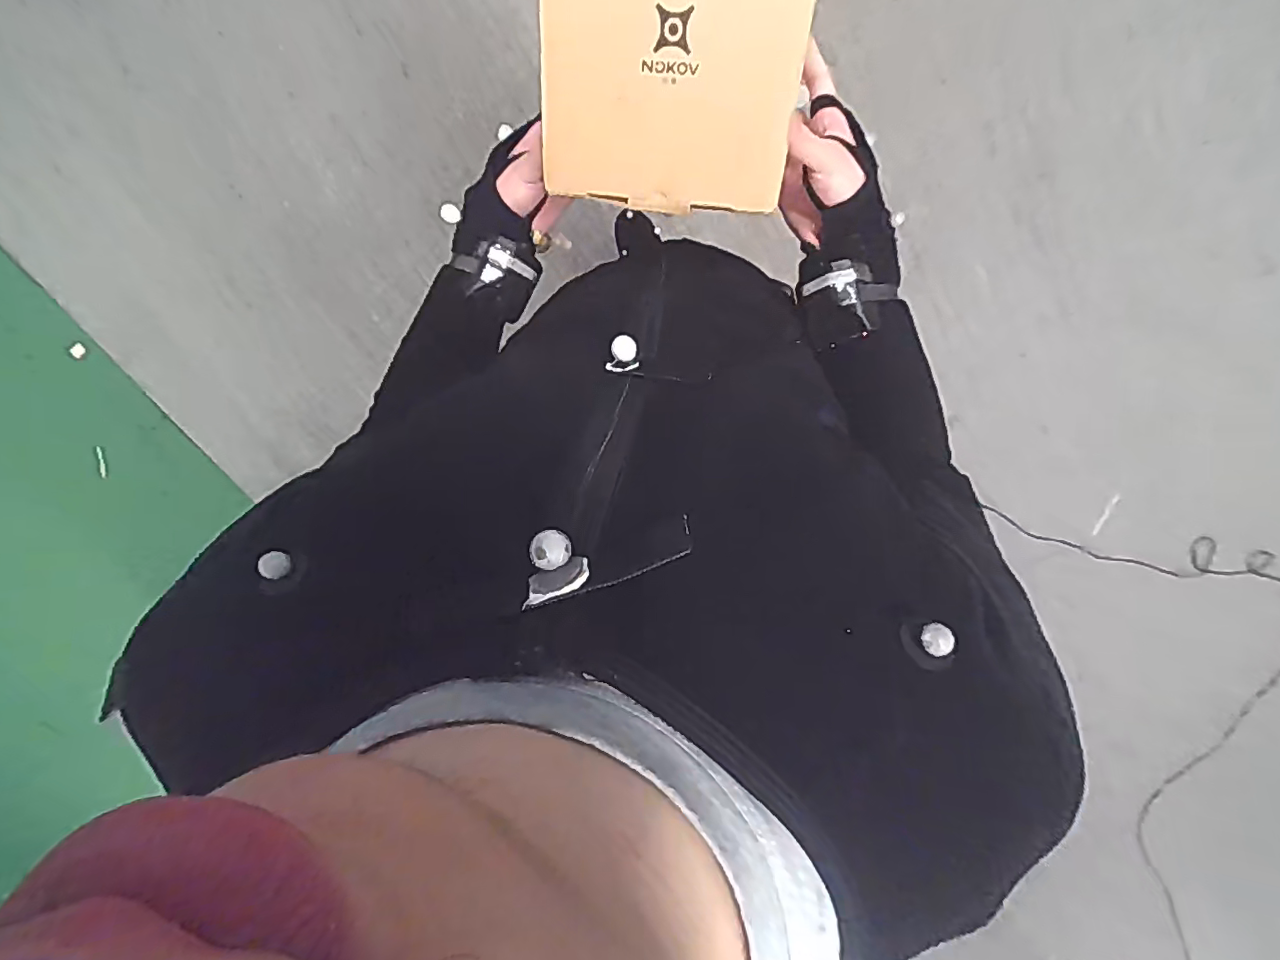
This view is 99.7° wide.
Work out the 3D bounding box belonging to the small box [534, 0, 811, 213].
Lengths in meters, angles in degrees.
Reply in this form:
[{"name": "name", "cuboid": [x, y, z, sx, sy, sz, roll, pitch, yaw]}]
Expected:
[{"name": "small box", "cuboid": [0.026, -0.310, 0.393, 0.168, 0.176, 0.179, 7, 124, 3]}]
